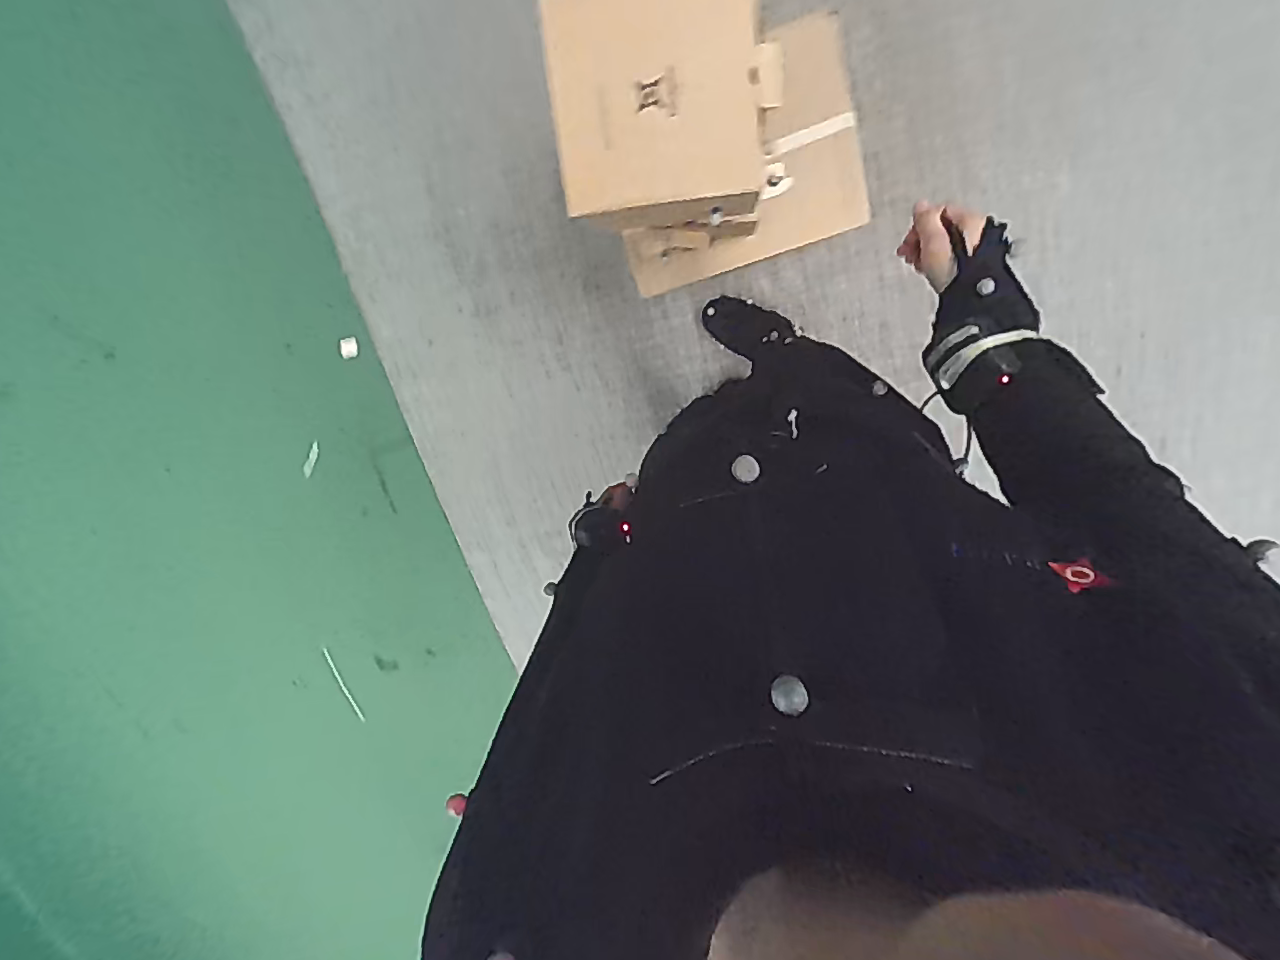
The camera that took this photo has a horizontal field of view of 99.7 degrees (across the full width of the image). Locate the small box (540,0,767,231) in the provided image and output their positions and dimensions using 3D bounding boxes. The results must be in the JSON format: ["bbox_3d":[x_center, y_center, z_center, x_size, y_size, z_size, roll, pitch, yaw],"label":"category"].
[{"bbox_3d":[0.024,-0.345,0.521,0.179,0.176,0.168,-4,109,11],"label":"small box"}]

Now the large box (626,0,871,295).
[{"bbox_3d":[0.165,-0.574,1.027,0.408,0.320,0.320,-15,108,13],"label":"large box"}]

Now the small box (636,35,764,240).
[{"bbox_3d":[0.063,-0.404,0.669,0.168,0.176,0.179,-2,110,9],"label":"small box"}]
